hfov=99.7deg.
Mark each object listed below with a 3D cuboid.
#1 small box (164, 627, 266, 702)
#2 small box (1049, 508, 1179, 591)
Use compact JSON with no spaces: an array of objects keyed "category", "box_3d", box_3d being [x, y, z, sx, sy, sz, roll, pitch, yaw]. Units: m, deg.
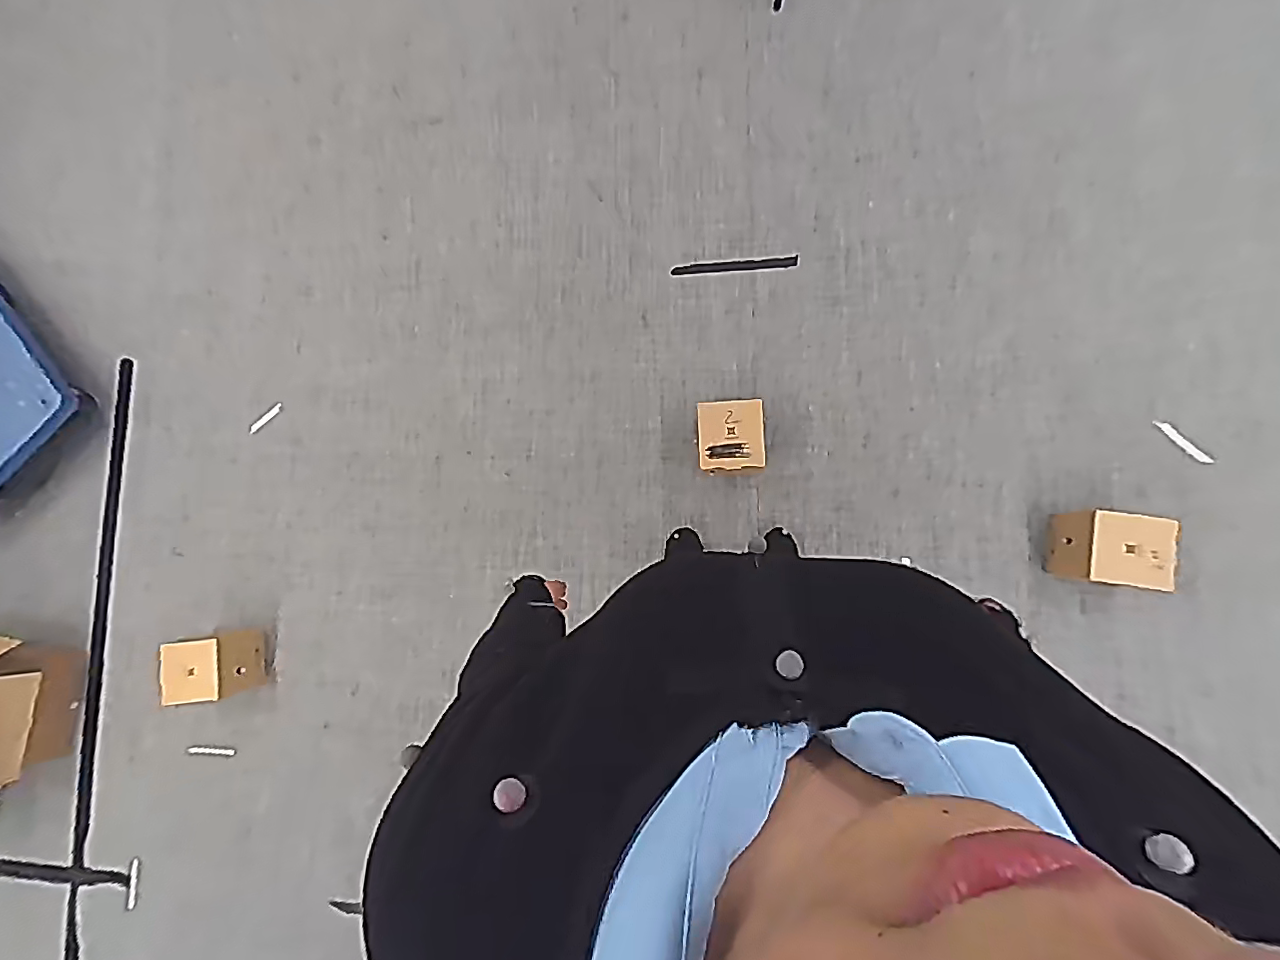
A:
[{"category":"small box","box_3d":[-1.218,0.528,1.562,0.179,0.176,0.168,-8,84,7]},{"category":"small box","box_3d":[1.137,0.166,1.312,0.179,0.176,0.168,9,86,7]}]
